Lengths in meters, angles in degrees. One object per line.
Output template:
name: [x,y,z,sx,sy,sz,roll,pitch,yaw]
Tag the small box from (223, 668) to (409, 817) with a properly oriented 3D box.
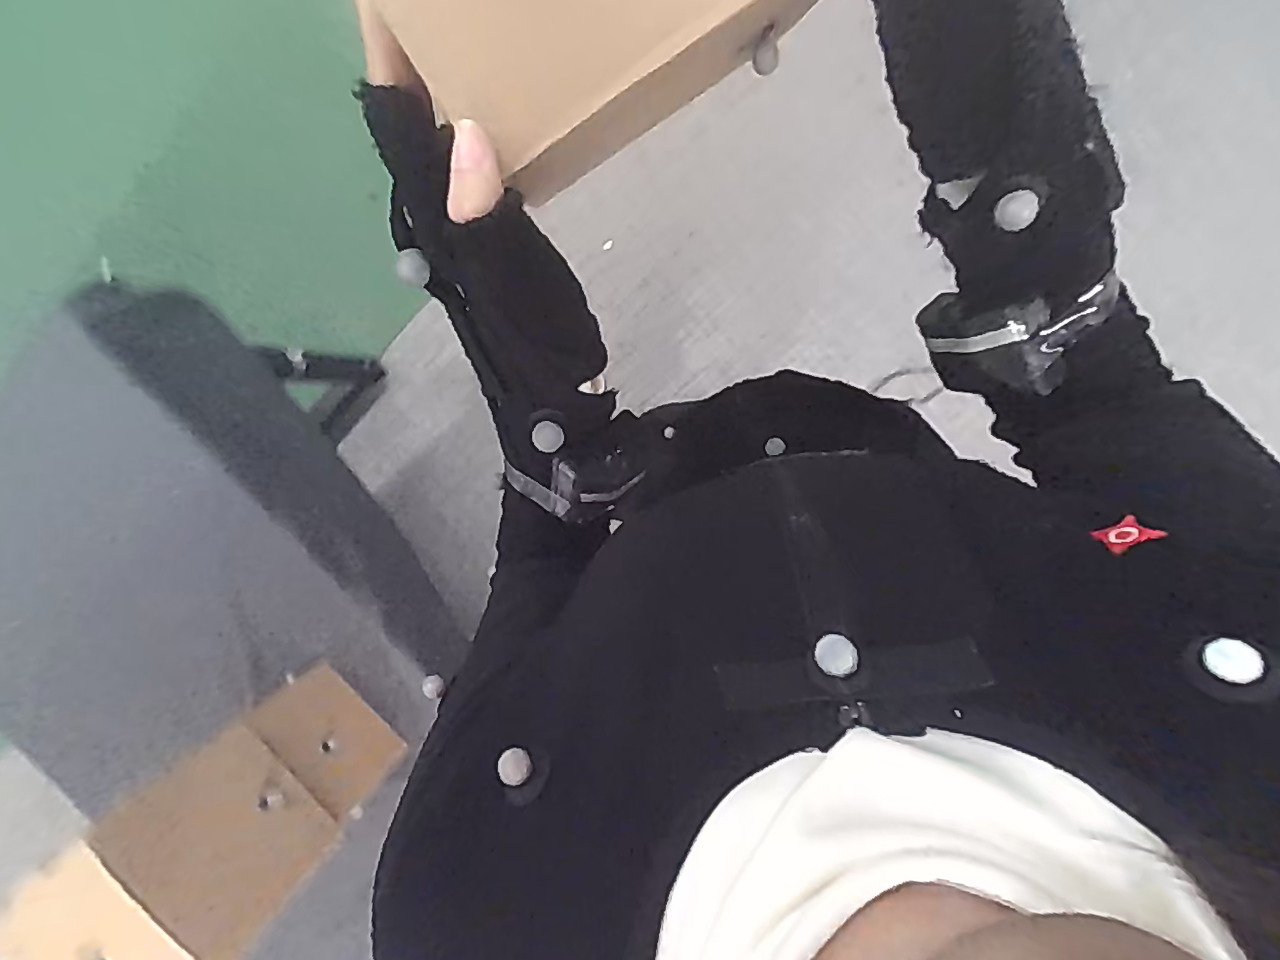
small box: [-0.455,0.381,0.722,0.168,0.176,0.179,-43,93,11]
